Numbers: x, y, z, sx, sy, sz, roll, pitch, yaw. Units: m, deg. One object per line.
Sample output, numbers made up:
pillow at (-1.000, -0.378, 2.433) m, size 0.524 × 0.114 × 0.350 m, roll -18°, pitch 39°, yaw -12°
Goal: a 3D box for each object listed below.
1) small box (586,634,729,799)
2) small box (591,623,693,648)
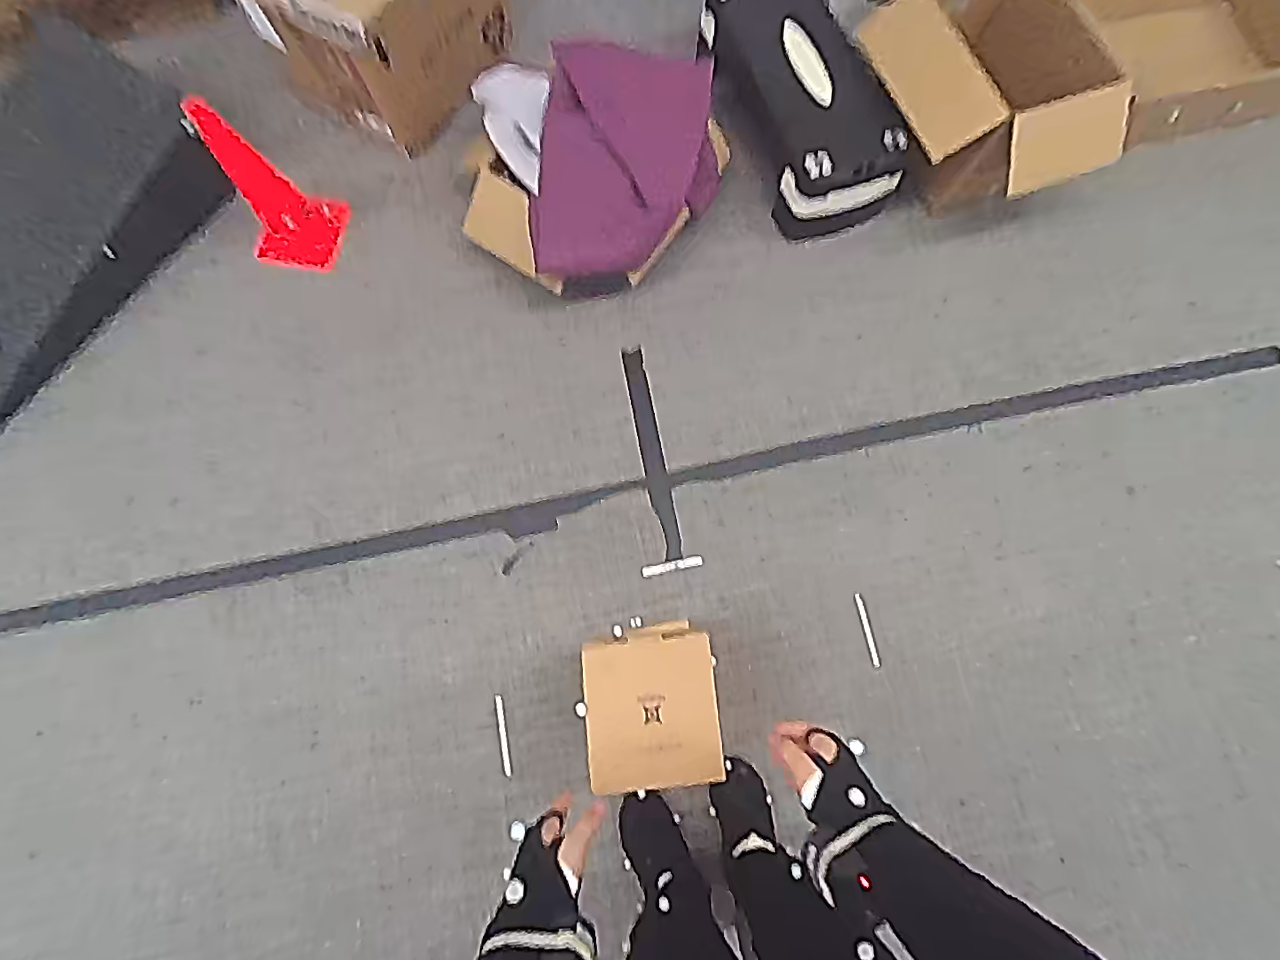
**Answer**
small box at (0.018, 0.308, 0.741) m, size 0.168 × 0.176 × 0.179 m, roll -6°, pitch 77°, yaw -2°
small box at (0.014, 0.342, 0.901) m, size 0.168 × 0.176 × 0.179 m, roll -11°, pitch 77°, yaw -3°
